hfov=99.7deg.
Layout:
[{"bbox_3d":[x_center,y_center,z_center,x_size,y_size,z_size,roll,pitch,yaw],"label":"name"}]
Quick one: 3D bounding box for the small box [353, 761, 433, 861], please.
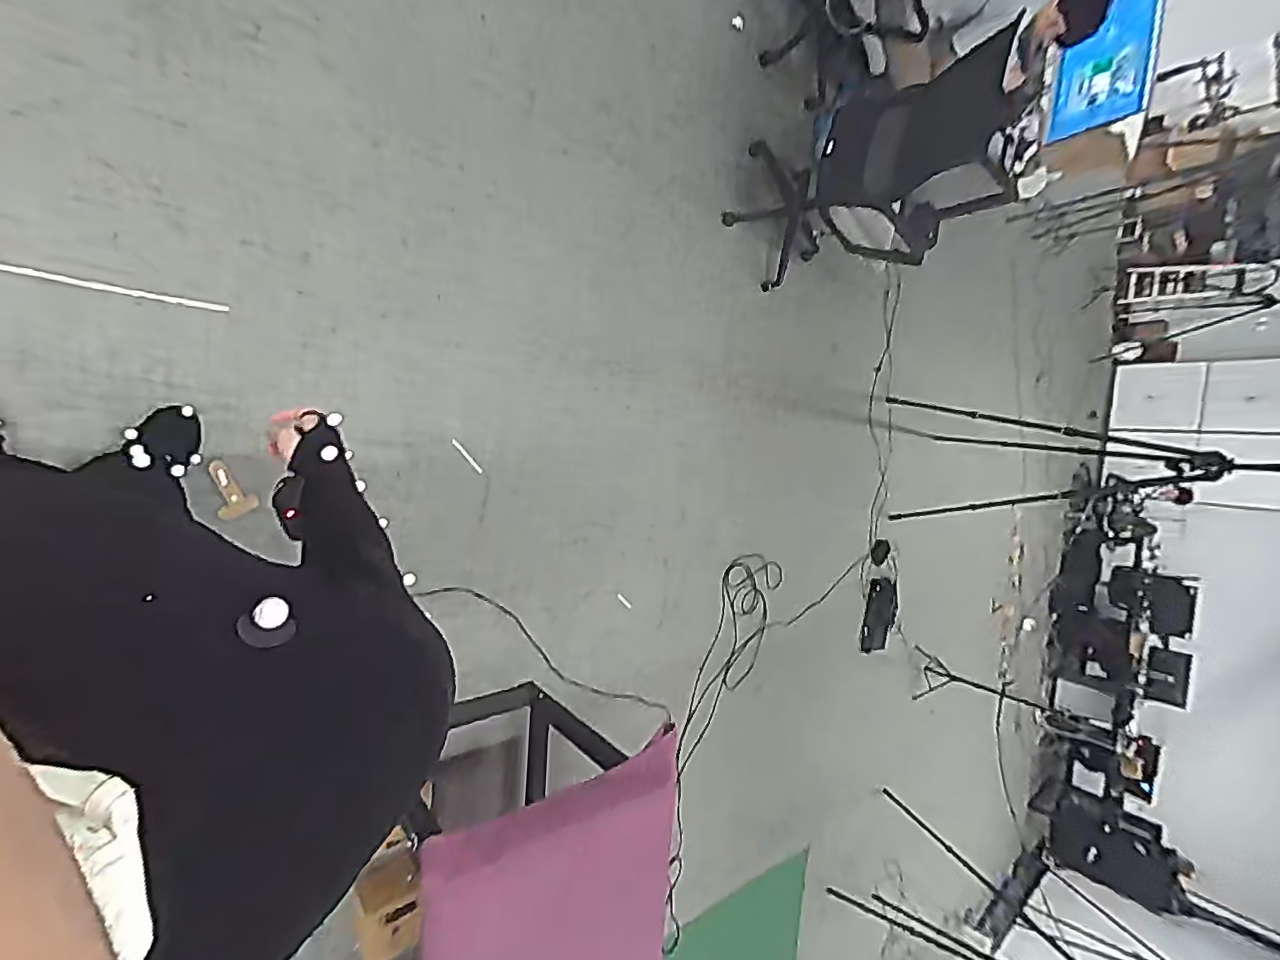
[{"bbox_3d":[-0.721,0.945,1.572,0.168,0.176,0.179,5,91,-41],"label":"small box"}]
